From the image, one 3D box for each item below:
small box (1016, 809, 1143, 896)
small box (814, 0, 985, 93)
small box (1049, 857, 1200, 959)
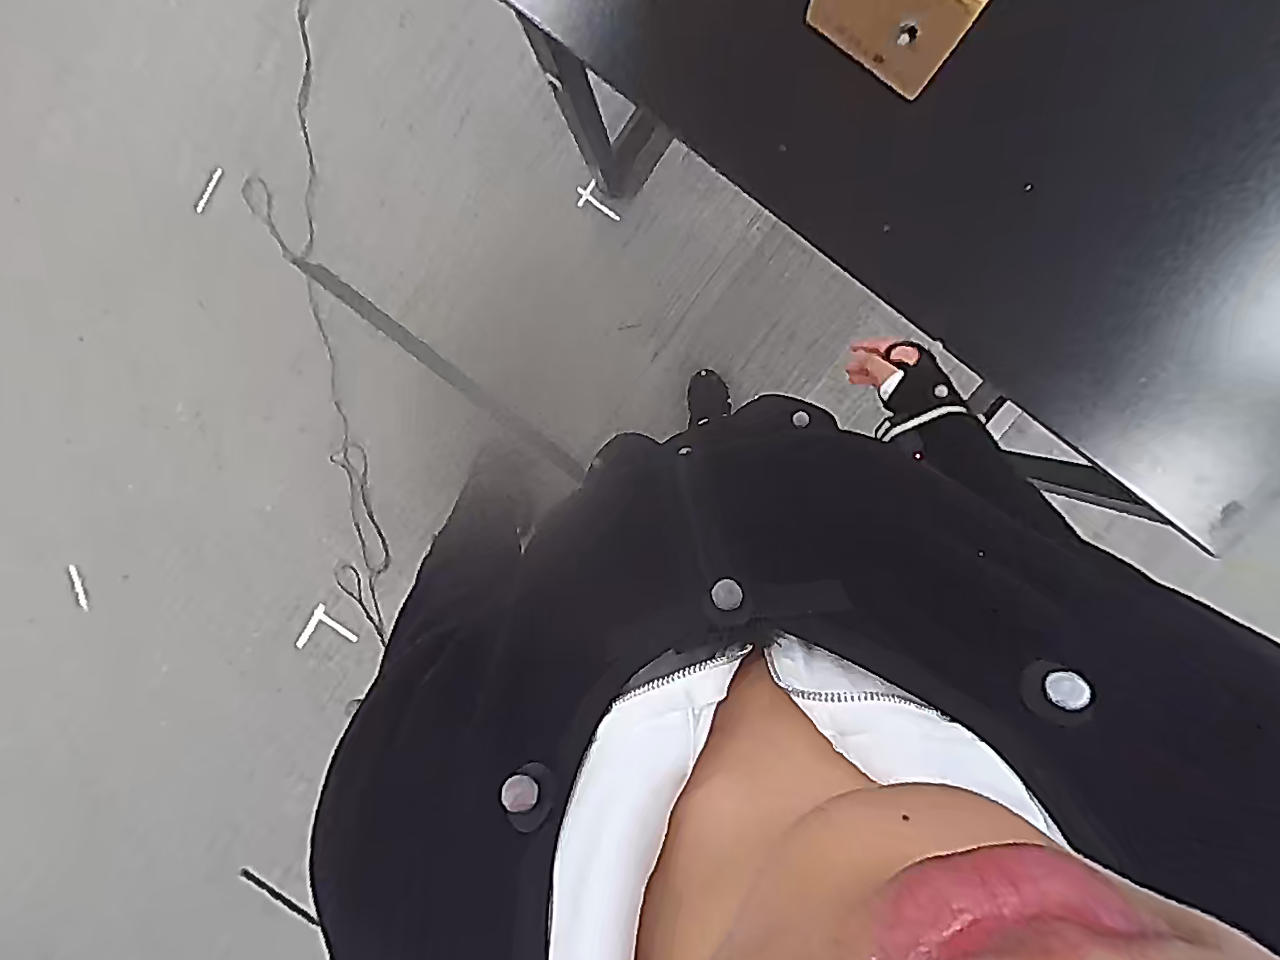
[{"bbox_3d":[1.196,1.062,1.489,0.168,0.176,0.179,37,101,-1],"label":"small box"},{"bbox_3d":[0.306,-0.567,0.569,0.168,0.176,0.179,36,99,-3],"label":"small box"},{"bbox_3d":[1.174,1.086,1.327,0.179,0.176,0.168,37,100,0],"label":"small box"}]
